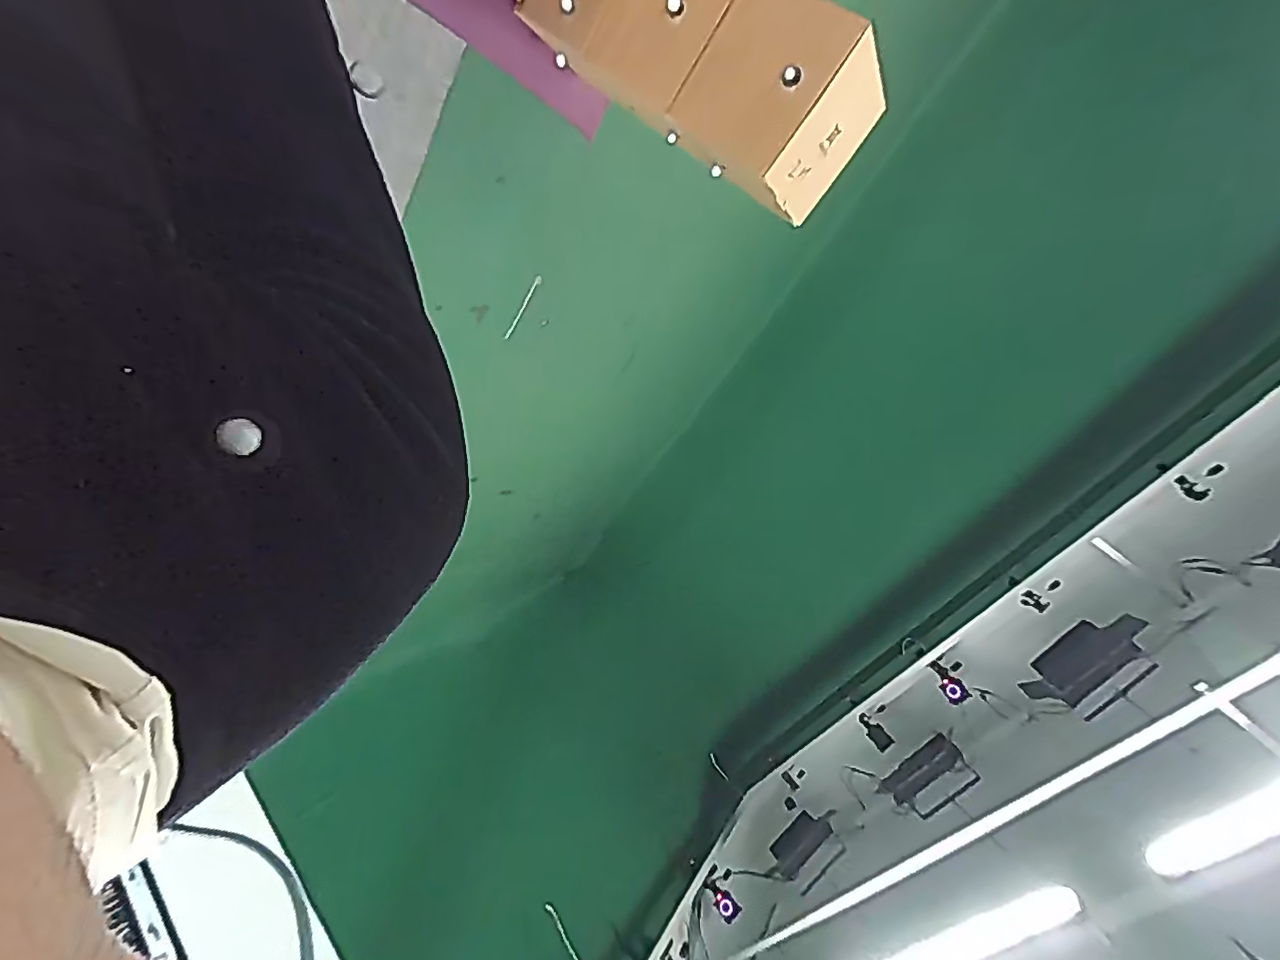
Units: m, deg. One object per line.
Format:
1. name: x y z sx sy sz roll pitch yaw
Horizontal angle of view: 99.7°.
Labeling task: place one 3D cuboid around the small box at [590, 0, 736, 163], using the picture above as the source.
1. small box: 0.063 -0.583 0.740 0.179 0.176 0.168 -53 158 22

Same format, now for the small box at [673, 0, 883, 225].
1. small box: 0.174 -0.472 0.686 0.179 0.176 0.168 -52 159 22
